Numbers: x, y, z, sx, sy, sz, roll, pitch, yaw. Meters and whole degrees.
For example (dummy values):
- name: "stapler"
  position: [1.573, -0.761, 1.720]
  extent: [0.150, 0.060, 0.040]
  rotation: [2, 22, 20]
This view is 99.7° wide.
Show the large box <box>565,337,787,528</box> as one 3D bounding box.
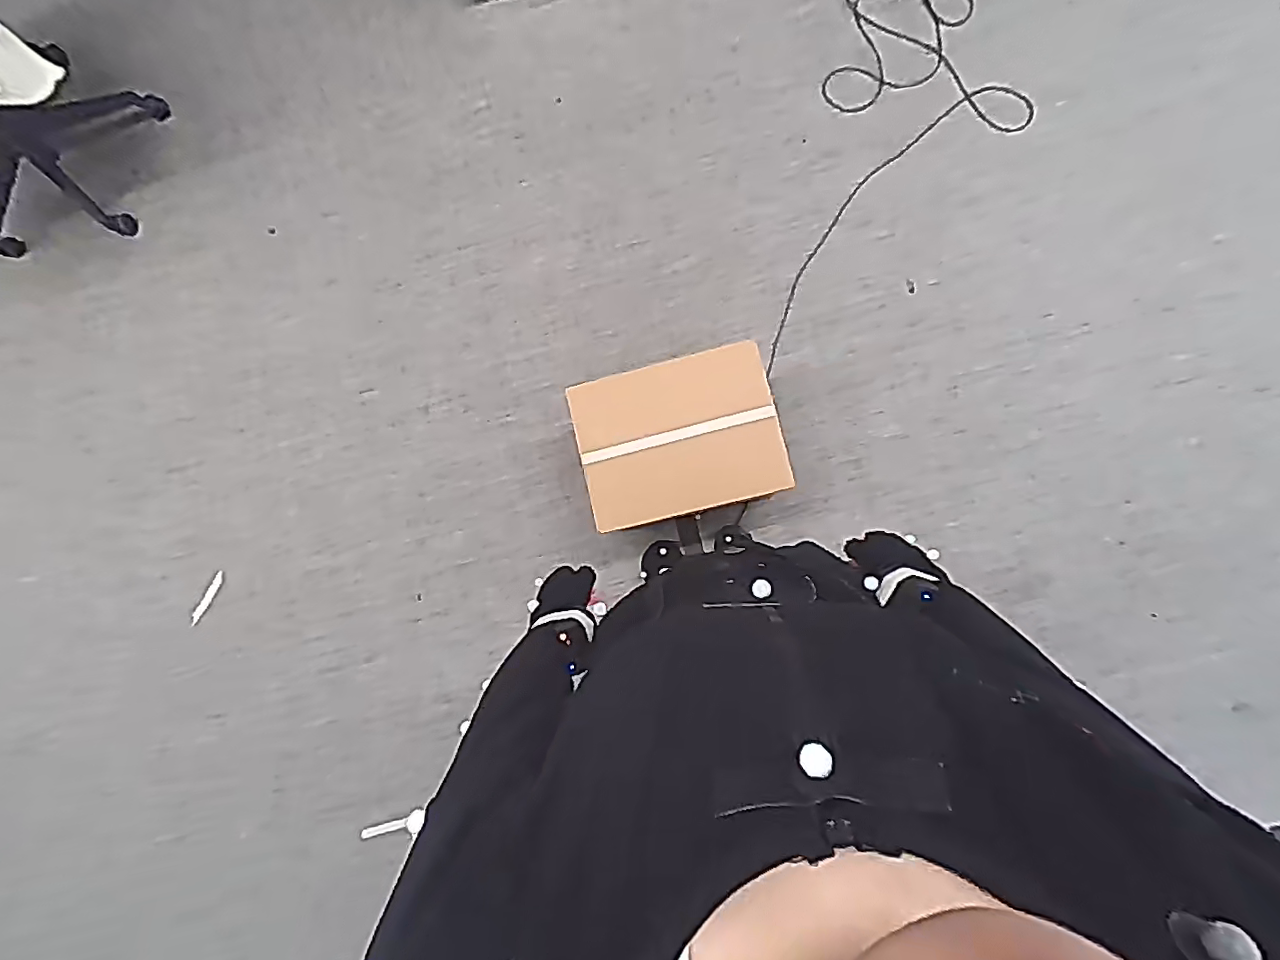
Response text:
- name: "large box"
  position: [0.080, -0.087, 1.249]
  extent: [0.408, 0.320, 0.320]
  rotation: [-14, 86, 4]
